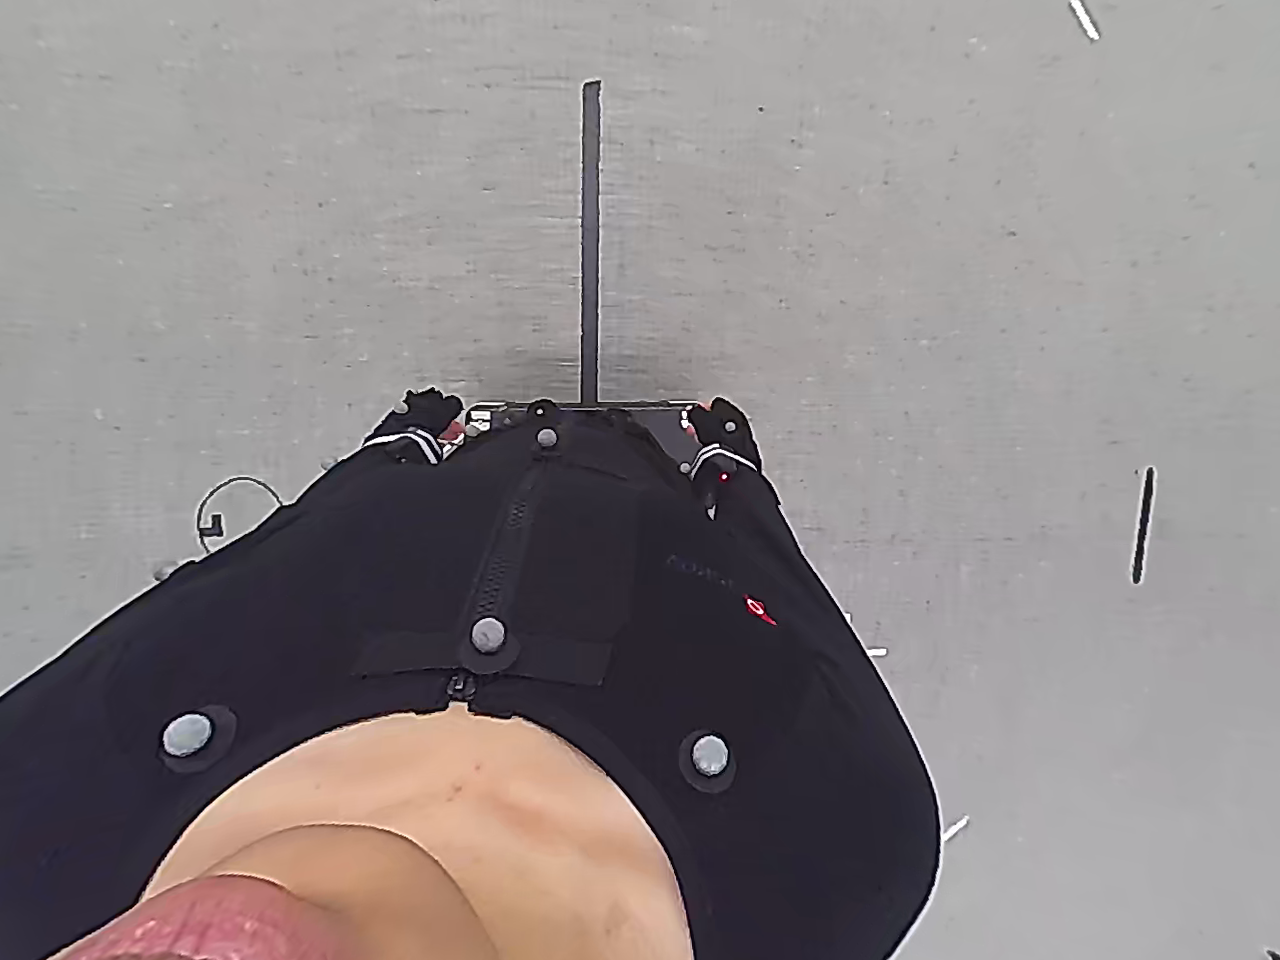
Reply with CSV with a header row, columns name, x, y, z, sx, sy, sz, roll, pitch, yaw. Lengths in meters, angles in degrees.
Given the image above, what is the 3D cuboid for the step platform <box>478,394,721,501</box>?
name,x,y,z,sx,sy,sz,roll,pitch,yaw
step platform,-0.111,-0.097,1.559,0.684,0.204,0.286,-2,100,-4
